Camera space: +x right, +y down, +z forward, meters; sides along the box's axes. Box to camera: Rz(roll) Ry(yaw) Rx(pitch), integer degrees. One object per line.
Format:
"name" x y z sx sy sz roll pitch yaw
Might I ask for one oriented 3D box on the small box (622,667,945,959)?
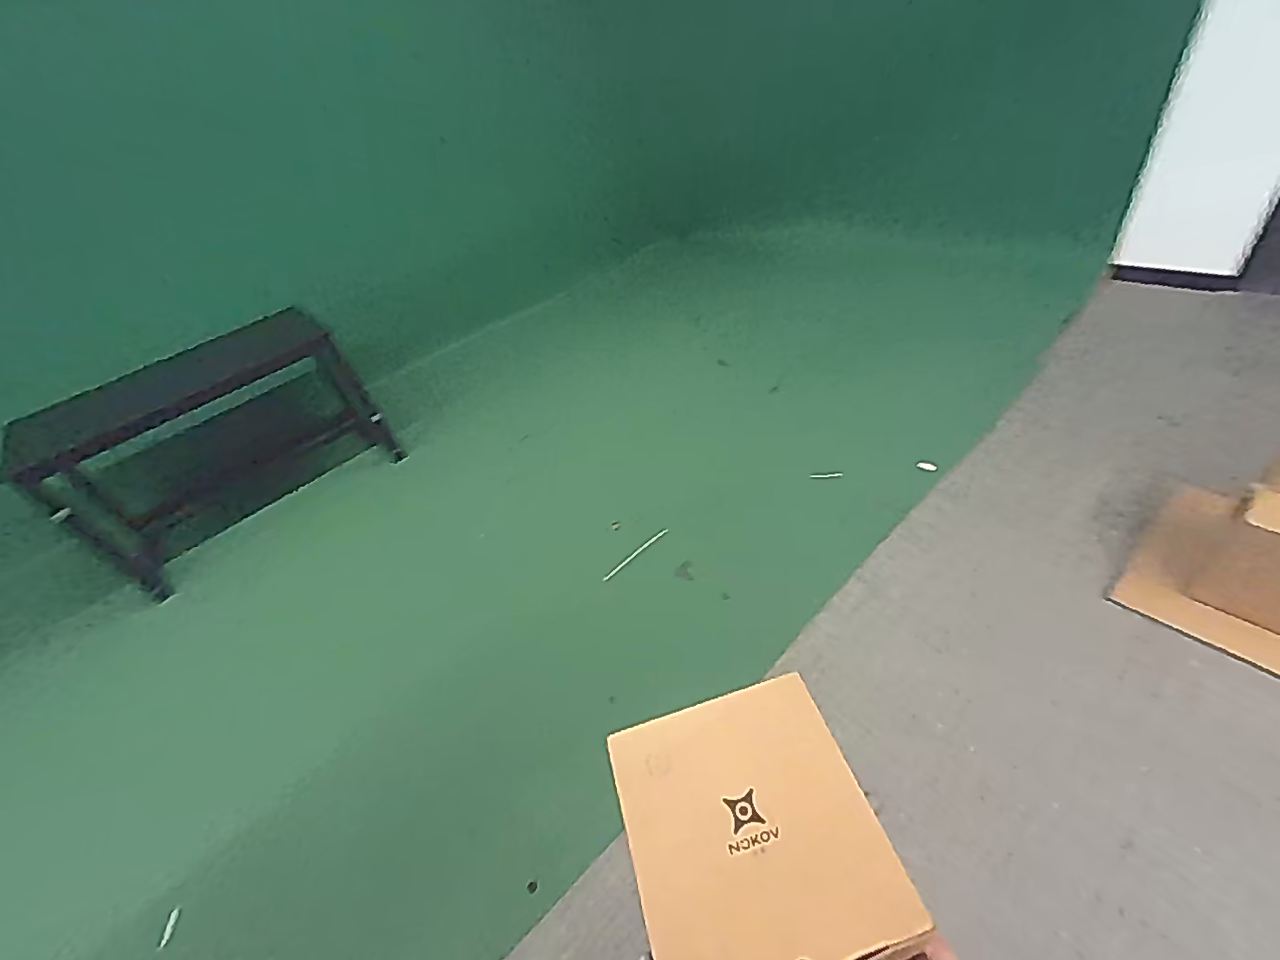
"small box" 0.093 0.285 0.424 0.168 0.176 0.179 -16 42 -5

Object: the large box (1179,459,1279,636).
"large box" 1.722 0.210 1.368 0.320 0.320 0.408 -38 47 -25

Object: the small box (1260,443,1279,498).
"small box" 1.663 -0.047 1.303 0.179 0.176 0.168 -39 45 -27
